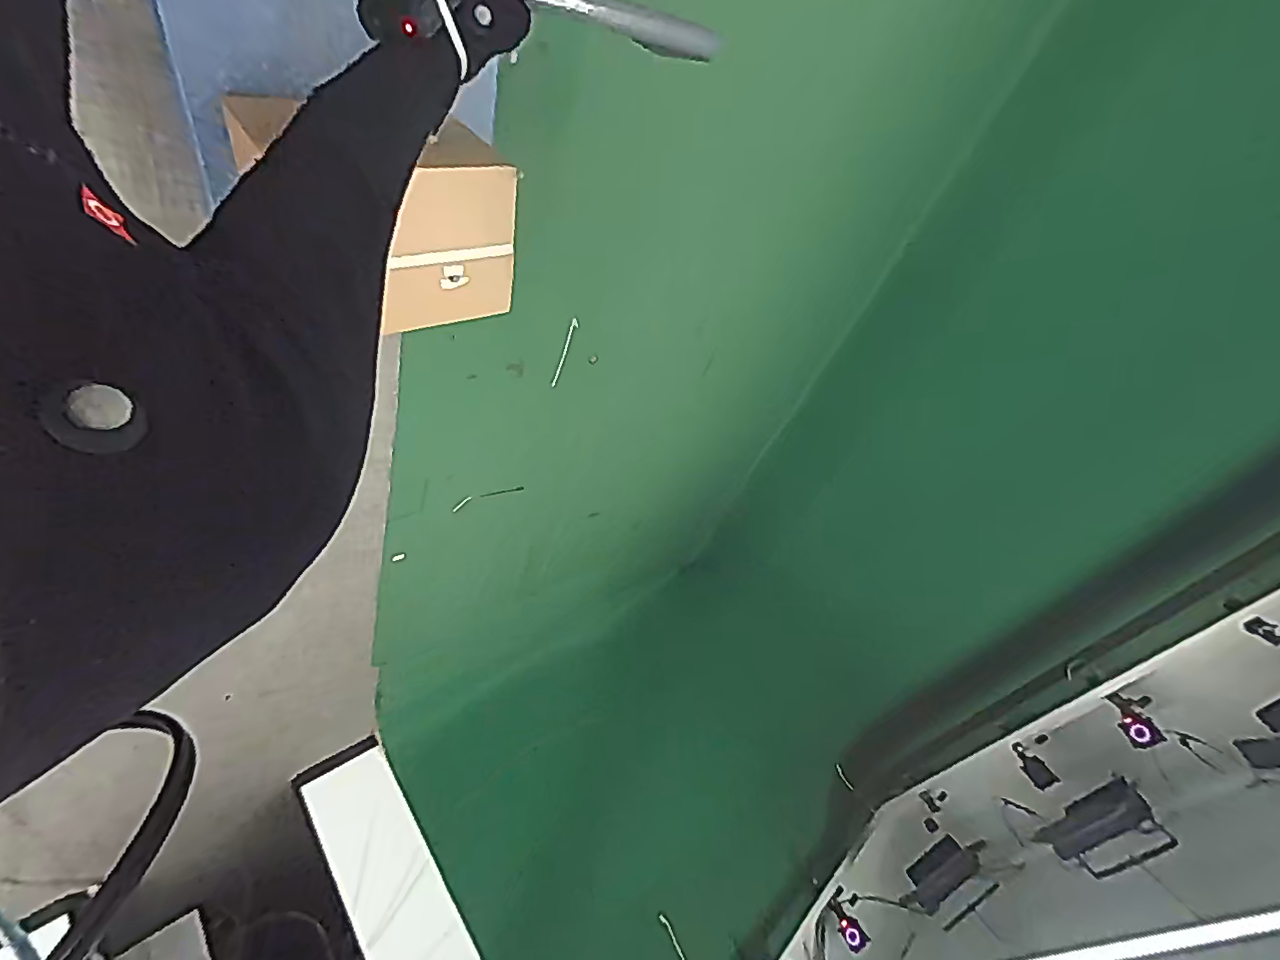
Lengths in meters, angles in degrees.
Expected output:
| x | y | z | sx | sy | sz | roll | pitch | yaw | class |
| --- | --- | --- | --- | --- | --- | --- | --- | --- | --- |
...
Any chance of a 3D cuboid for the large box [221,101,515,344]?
| x | y | z | sx | sy | sz | roll | pitch | yaw | class |
| --- | --- | --- | --- | --- | --- | --- | --- | --- | --- |
| -0.506 | -0.525 | 1.074 | 0.408 | 0.320 | 0.320 | -26 | 151 | -33 | large box |
